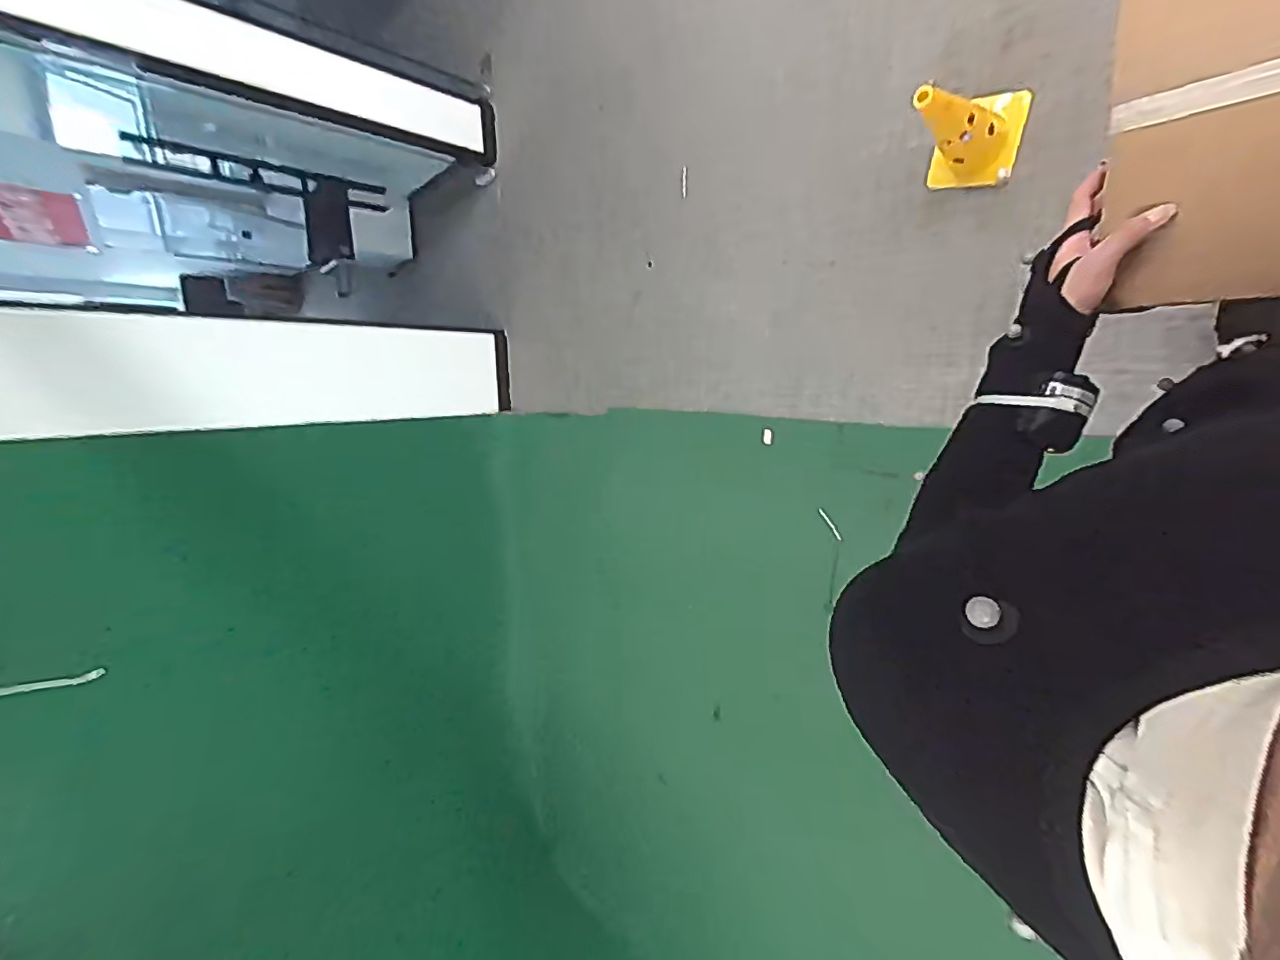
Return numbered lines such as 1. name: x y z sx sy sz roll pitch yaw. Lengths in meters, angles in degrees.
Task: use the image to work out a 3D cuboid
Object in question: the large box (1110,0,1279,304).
1. large box: 0.650 -0.329 0.397 0.408 0.320 0.320 12 118 50
